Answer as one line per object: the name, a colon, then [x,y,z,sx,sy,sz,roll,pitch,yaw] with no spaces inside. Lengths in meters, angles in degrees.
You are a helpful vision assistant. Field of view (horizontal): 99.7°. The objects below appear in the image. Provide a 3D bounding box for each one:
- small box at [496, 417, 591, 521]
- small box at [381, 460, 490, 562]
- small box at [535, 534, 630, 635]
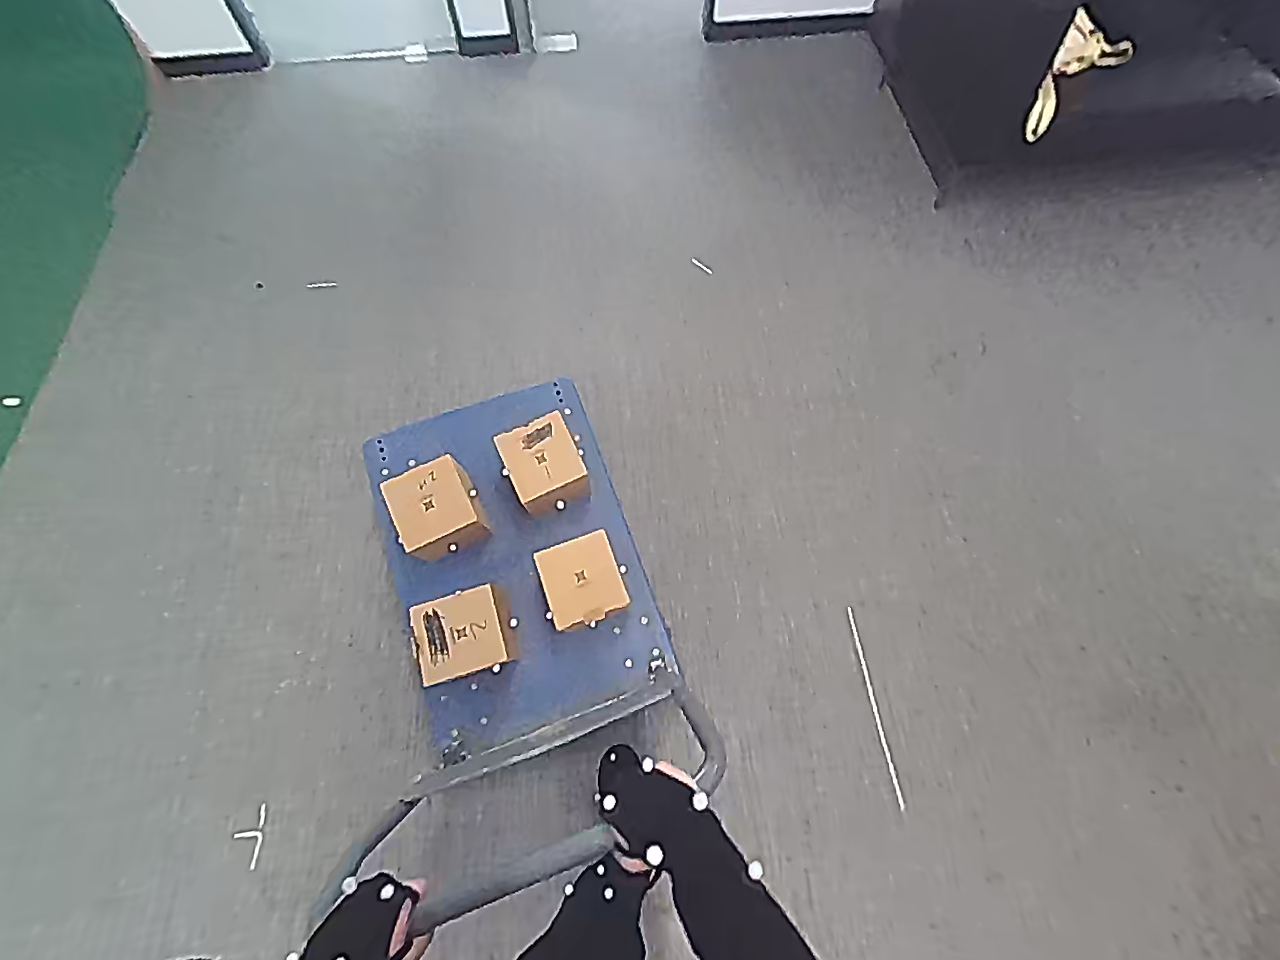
small box: [-0.229,-0.021,1.314,0.168,0.176,0.179,-24,76,-9]
small box: [-0.471,0.082,1.273,0.168,0.176,0.179,-25,76,-10]
small box: [-0.129,0.245,1.238,0.168,0.176,0.179,-19,75,-8]
